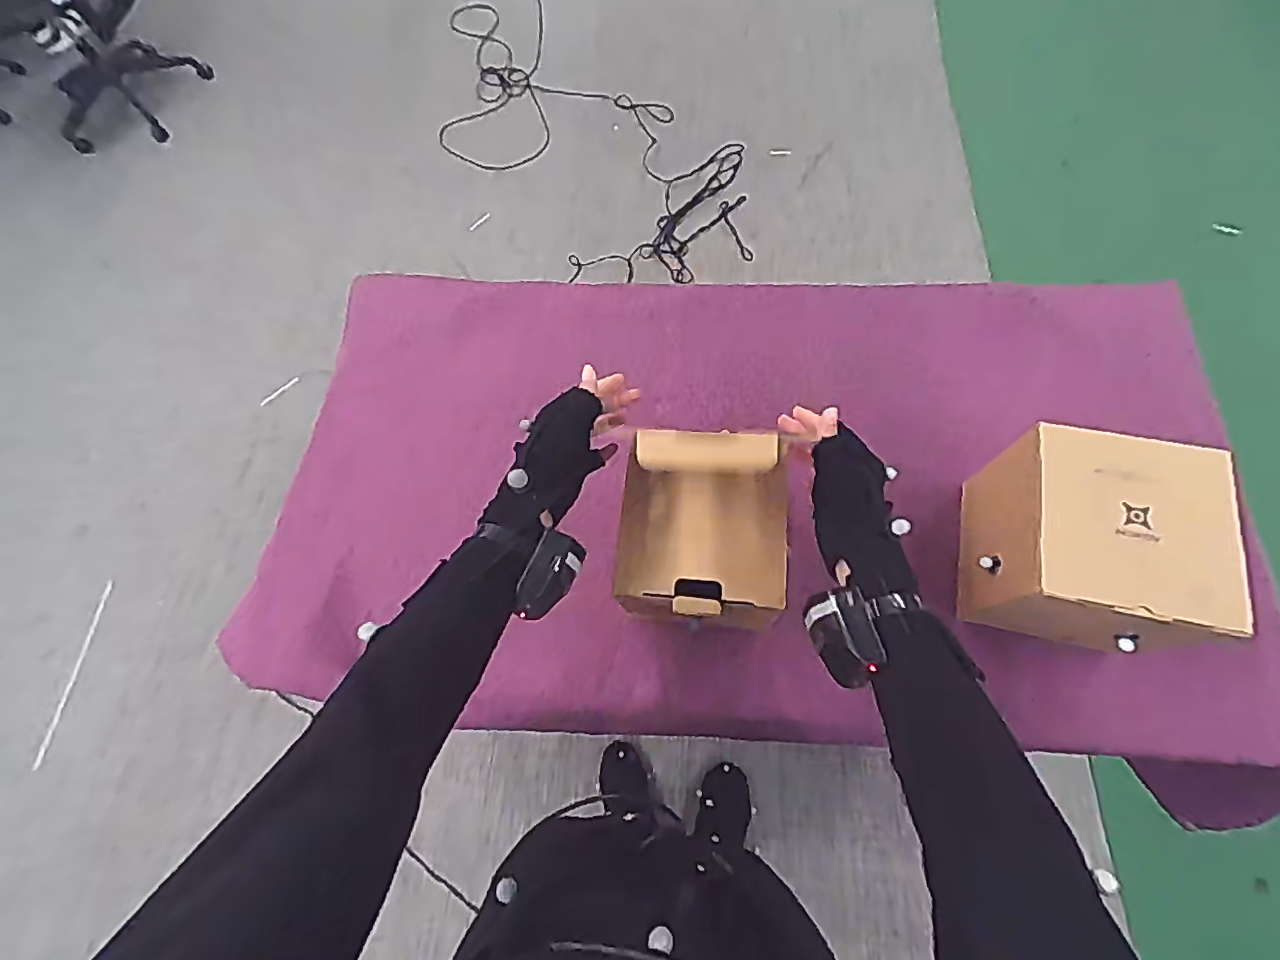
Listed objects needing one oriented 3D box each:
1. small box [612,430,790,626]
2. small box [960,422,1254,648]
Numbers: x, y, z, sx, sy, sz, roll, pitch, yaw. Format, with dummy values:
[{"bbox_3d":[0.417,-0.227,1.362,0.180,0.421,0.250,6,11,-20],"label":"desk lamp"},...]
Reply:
[{"bbox_3d":[0.071,0.062,0.604,0.168,0.176,0.179,4,69,7],"label":"small box"},{"bbox_3d":[0.457,0.066,0.561,0.168,0.176,0.179,12,70,10],"label":"small box"}]
